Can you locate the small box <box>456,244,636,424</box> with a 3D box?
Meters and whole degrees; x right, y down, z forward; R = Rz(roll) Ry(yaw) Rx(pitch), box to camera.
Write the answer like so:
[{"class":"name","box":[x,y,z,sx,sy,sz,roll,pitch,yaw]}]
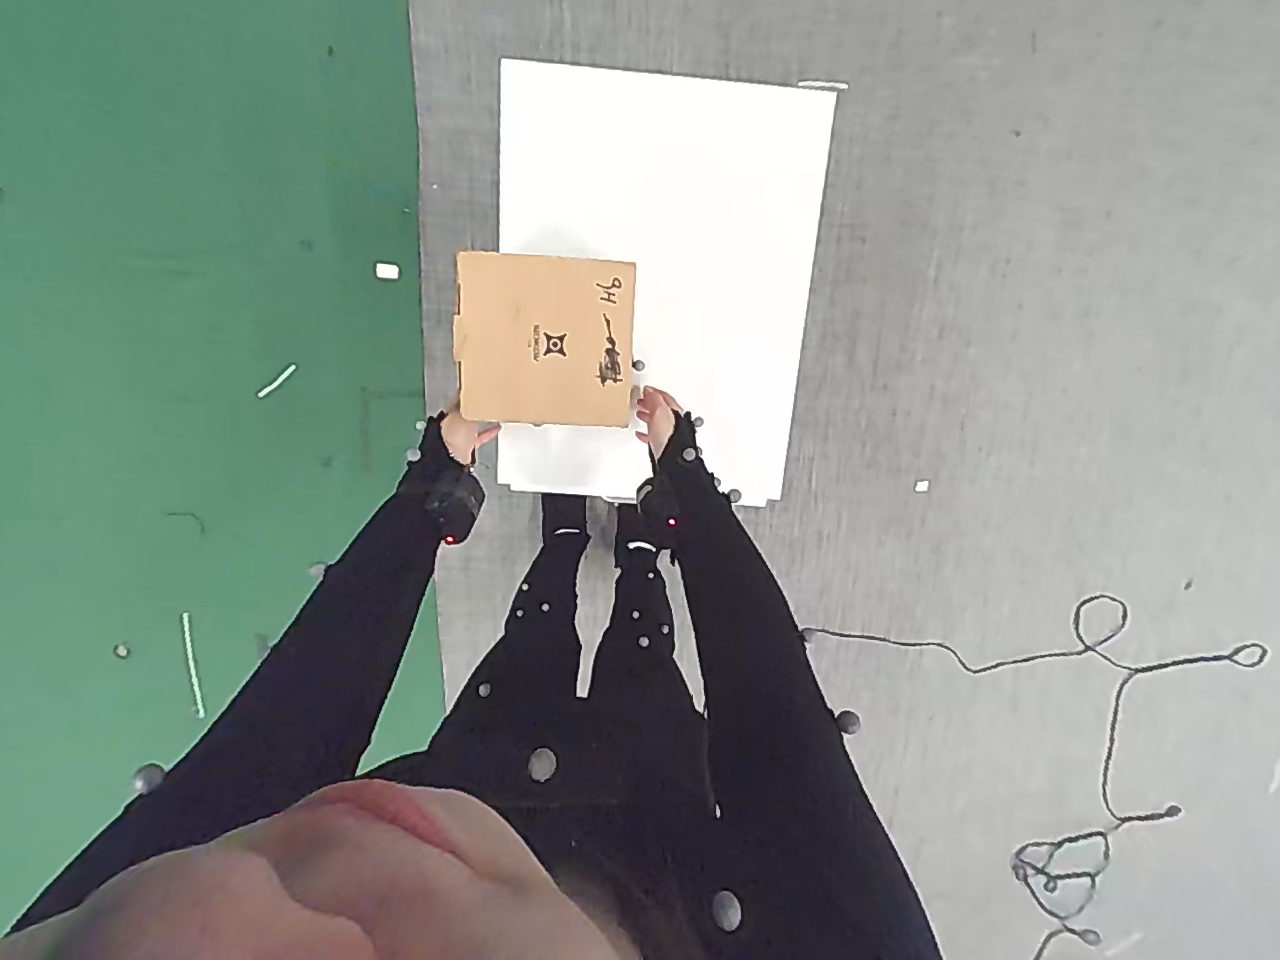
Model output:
[{"class":"small box","box":[-0.100,-0.160,0.619,0.179,0.176,0.168,3,104,-5]}]
